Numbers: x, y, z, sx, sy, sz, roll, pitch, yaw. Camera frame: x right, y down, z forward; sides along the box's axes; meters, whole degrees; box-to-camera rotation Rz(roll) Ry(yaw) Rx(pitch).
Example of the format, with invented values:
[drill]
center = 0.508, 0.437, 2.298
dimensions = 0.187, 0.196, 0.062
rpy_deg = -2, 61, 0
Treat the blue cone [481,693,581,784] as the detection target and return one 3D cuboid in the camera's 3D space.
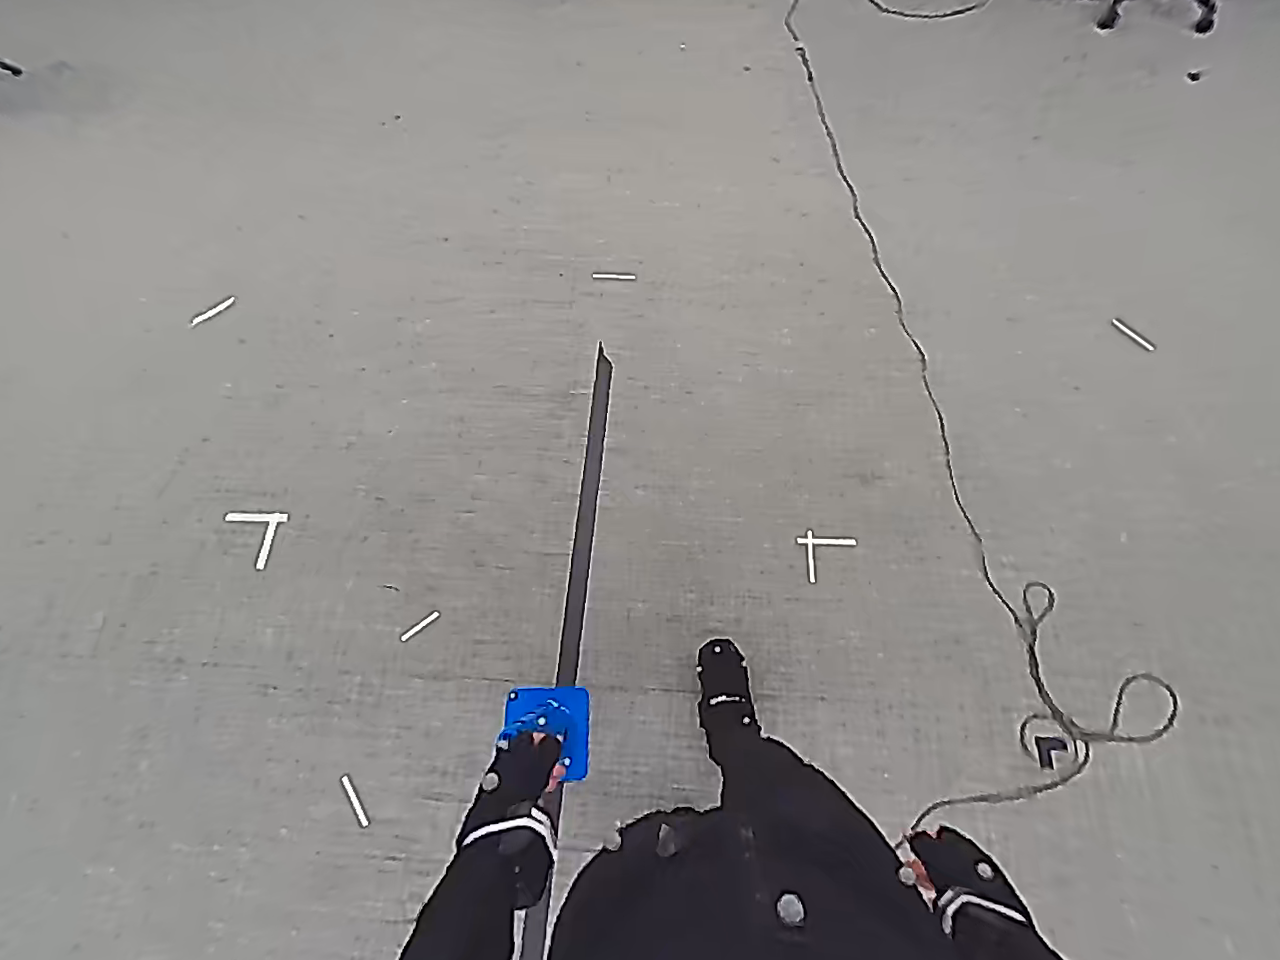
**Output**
[blue cone]
center = -0.242, 0.536, 1.111
dimensions = 0.192, 0.380, 0.193
rpy_deg = 0, 66, 2
